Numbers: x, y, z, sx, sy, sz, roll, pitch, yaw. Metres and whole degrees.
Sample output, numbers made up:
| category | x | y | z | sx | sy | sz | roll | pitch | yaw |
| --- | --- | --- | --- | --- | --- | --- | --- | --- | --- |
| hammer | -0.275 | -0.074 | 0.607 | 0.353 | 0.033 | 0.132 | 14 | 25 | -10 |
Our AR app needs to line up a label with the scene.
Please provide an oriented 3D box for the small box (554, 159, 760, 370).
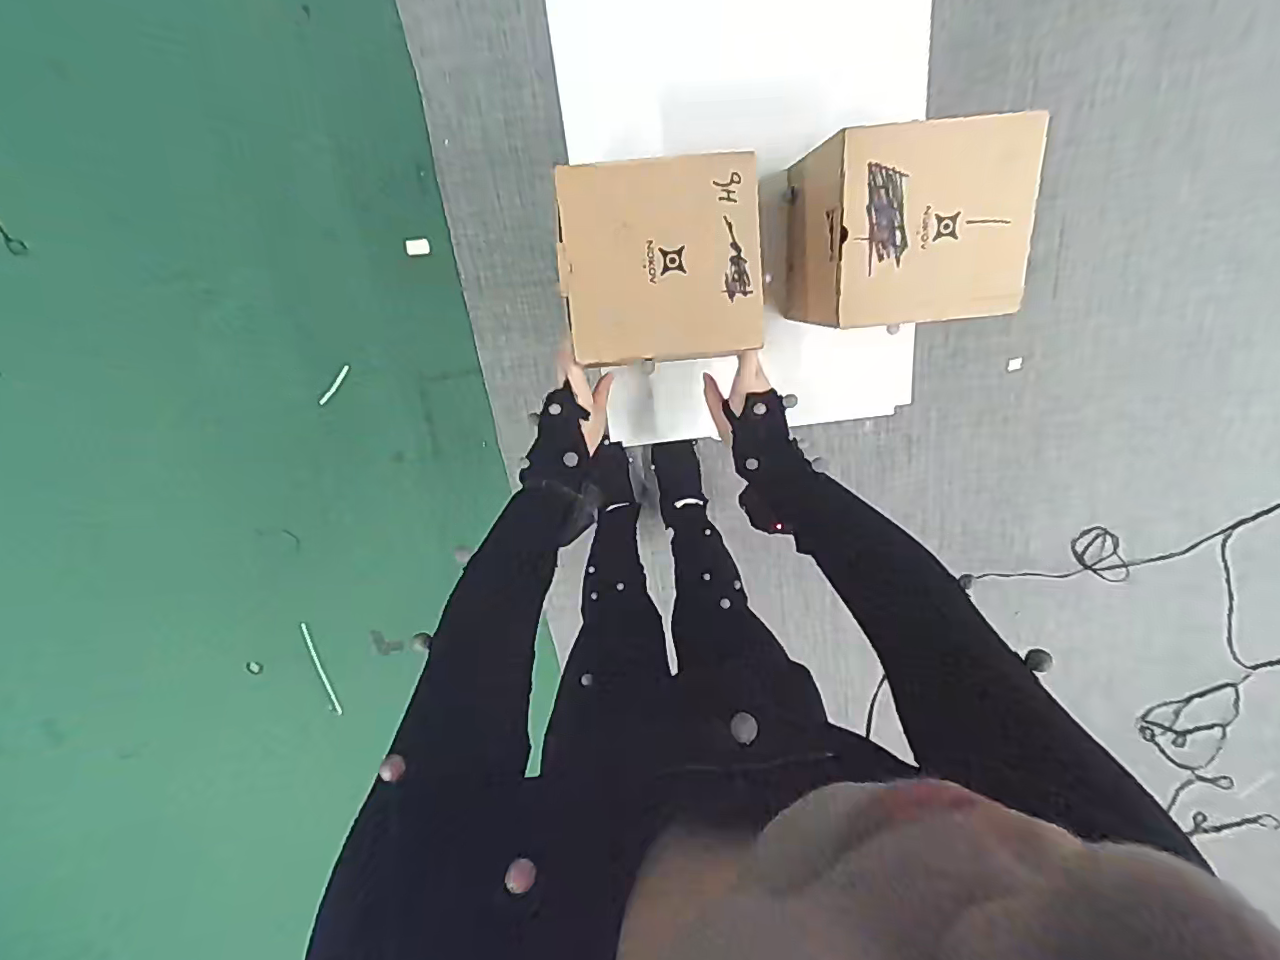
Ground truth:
| category | x | y | z | sx | sy | sz | roll | pitch | yaw |
| --- | --- | --- | --- | --- | --- | --- | --- | --- | --- |
| small box | 0.015 | -0.204 | 0.557 | 0.179 | 0.176 | 0.168 | -5 | 101 | -2 |

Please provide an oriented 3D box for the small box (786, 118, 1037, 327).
| category | x | y | z | sx | sy | sz | roll | pitch | yaw |
| --- | --- | --- | --- | --- | --- | --- | --- | --- | --- |
| small box | 0.258 | -0.252 | 0.563 | 0.179 | 0.176 | 0.168 | -5 | 109 | -1 |
